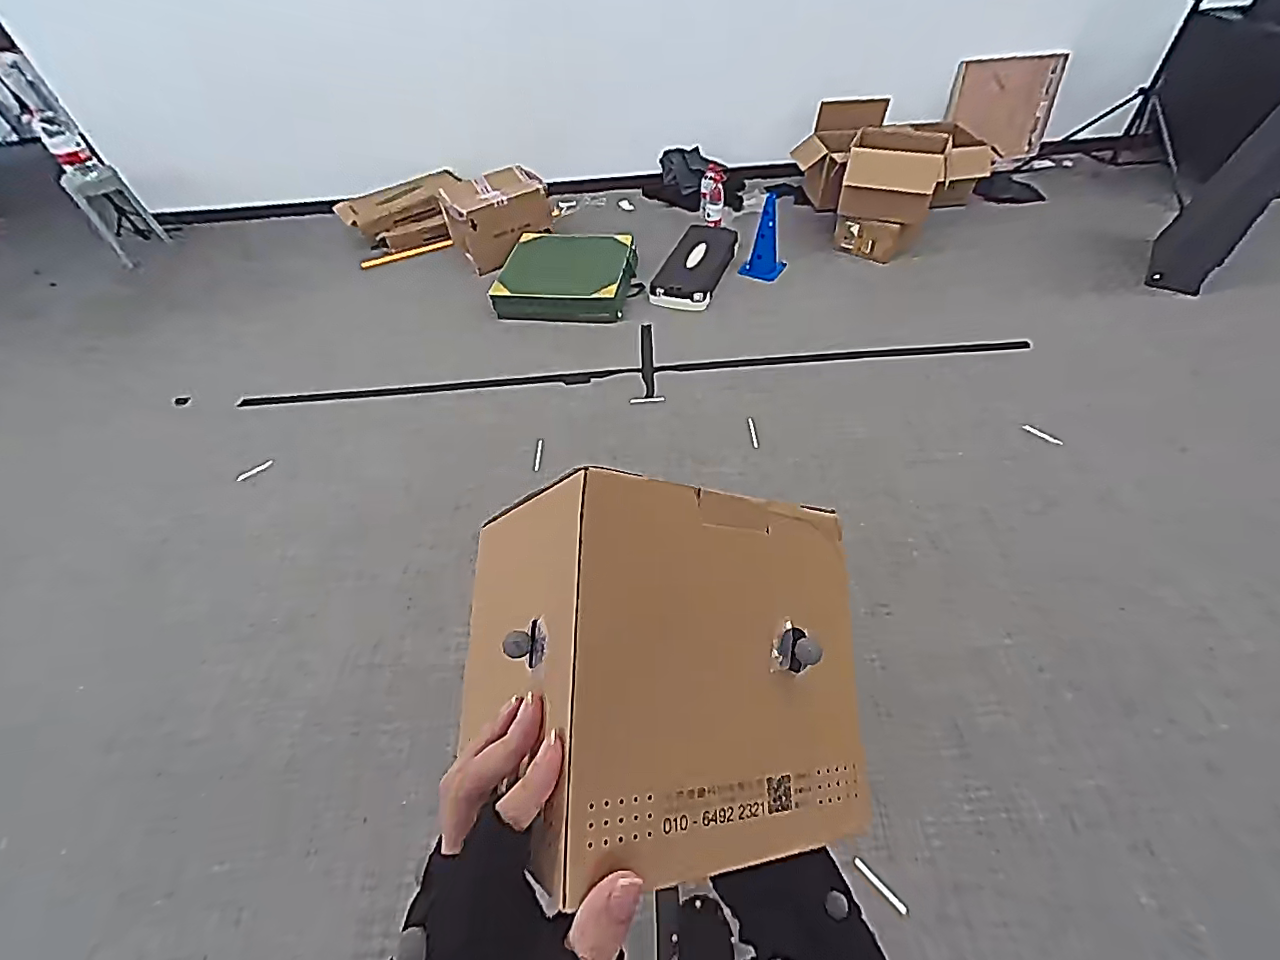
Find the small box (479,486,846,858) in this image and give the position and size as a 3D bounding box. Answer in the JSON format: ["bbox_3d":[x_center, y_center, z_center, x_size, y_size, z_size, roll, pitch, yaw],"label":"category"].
[{"bbox_3d":[0.006,0.112,0.340,0.168,0.179,0.176,11,71,-28],"label":"small box"}]
